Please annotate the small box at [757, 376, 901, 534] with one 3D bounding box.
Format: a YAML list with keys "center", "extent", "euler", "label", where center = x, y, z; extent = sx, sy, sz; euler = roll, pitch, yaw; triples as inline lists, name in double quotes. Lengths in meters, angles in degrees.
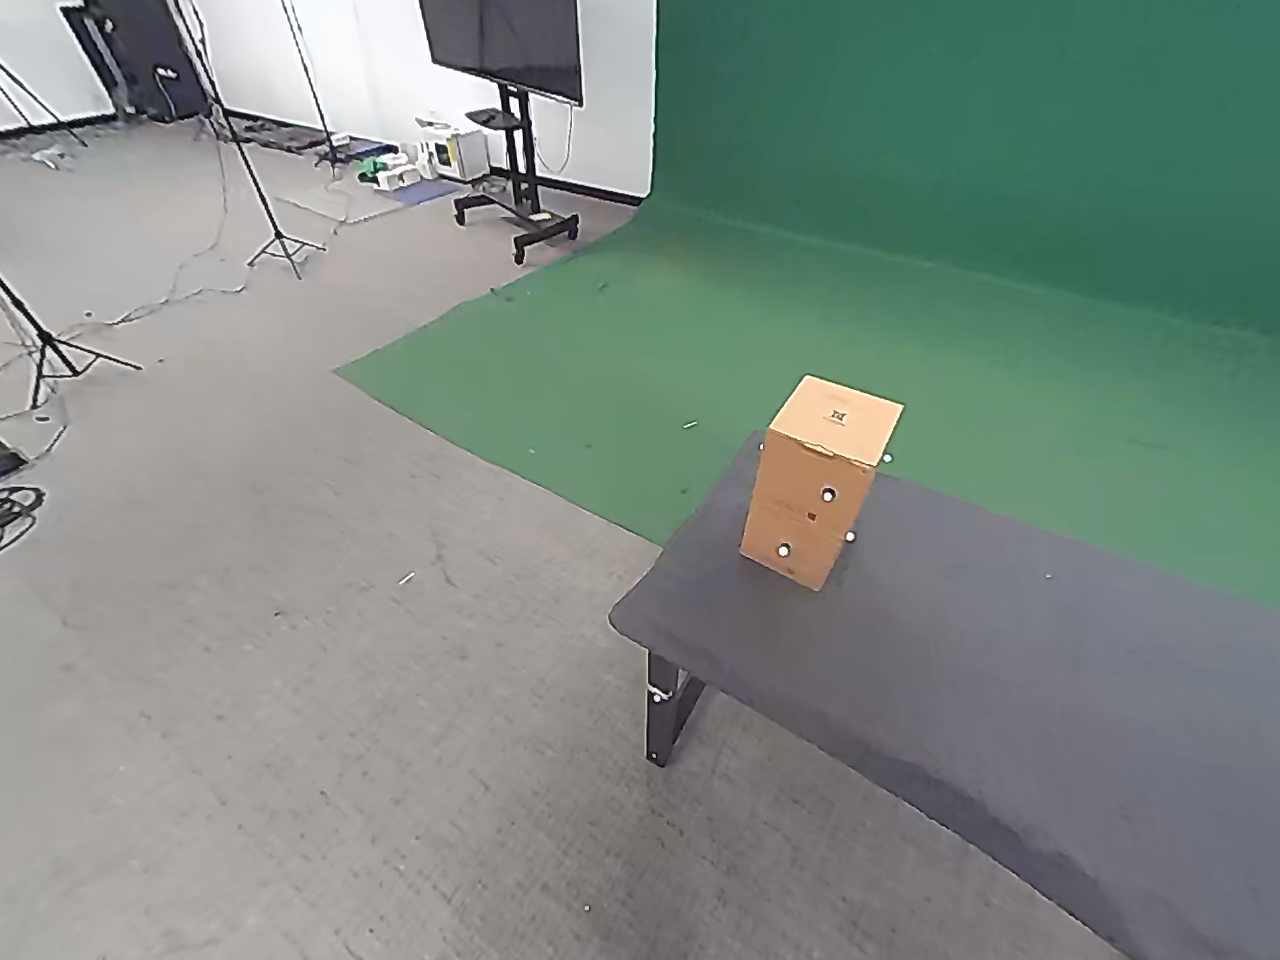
- center: [0.307, -0.040, 0.904]
  extent: [0.168, 0.176, 0.179]
  euler: [24, 48, 21]
  label: "small box"

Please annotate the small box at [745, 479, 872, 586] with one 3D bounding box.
- center: [0.312, 0.067, 1.027]
  extent: [0.168, 0.176, 0.179]
  euler: [26, 50, 23]
  label: "small box"
